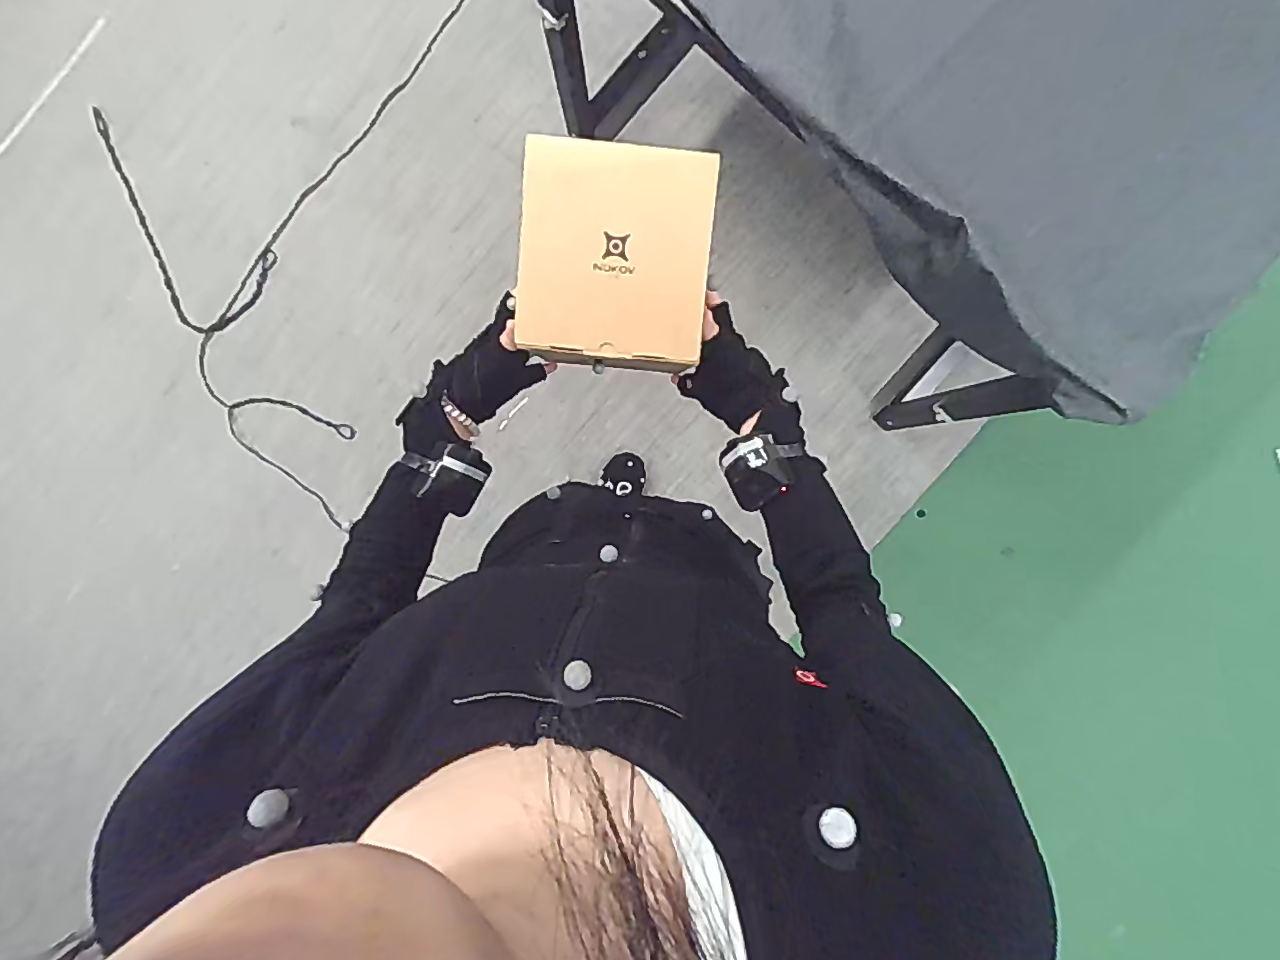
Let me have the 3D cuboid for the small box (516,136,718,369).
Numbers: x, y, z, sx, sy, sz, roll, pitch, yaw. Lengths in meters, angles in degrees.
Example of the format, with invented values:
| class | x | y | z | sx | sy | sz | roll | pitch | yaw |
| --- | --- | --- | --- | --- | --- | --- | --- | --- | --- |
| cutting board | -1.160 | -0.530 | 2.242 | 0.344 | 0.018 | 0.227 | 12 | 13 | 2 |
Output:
| class | x | y | z | sx | sy | sz | roll | pitch | yaw |
| --- | --- | --- | --- | --- | --- | --- | --- | --- | --- |
| small box | -0.026 | -0.213 | 0.555 | 0.168 | 0.176 | 0.179 | 5 | 100 | -3 |
